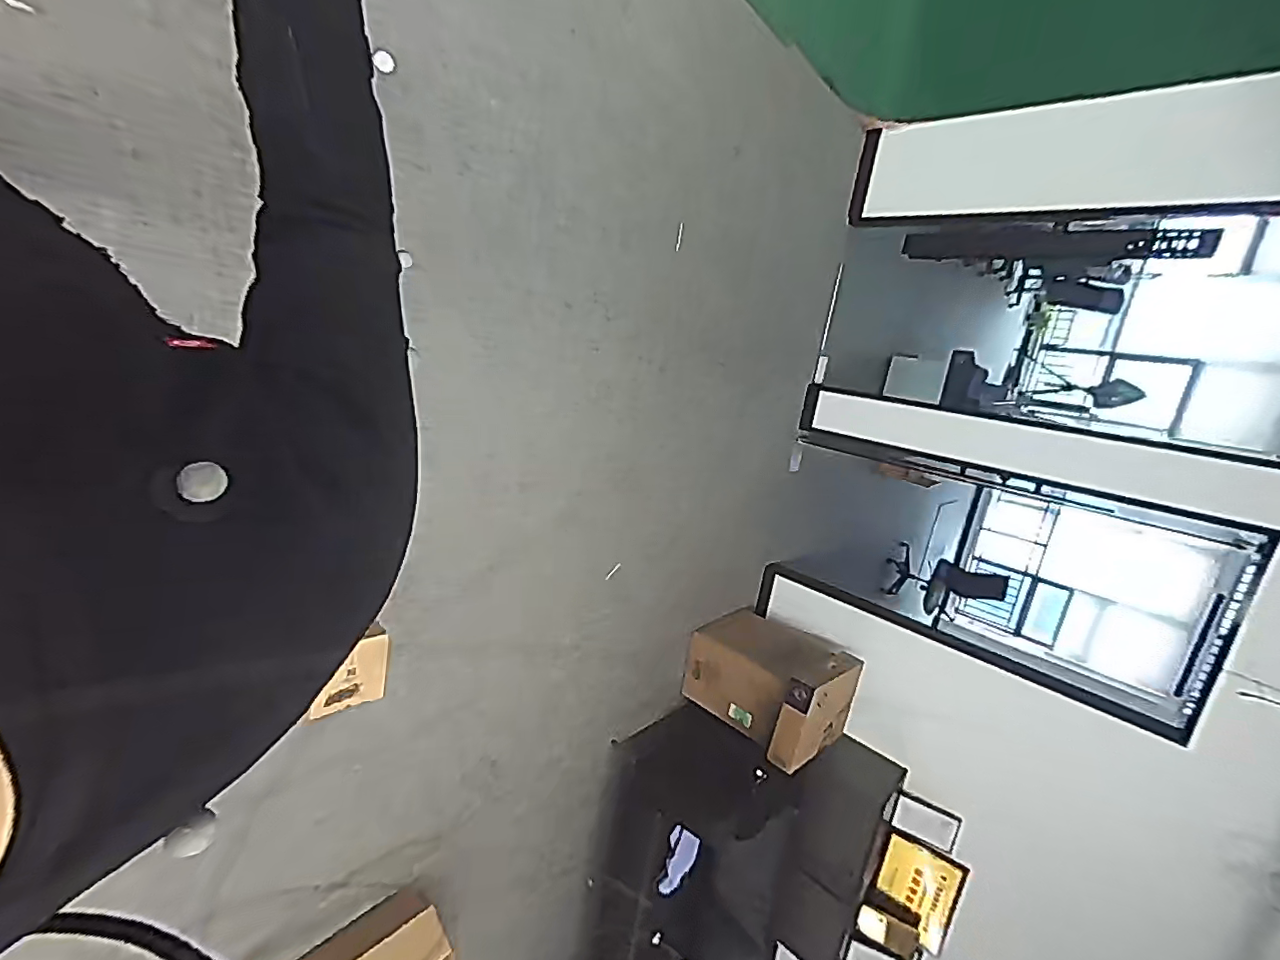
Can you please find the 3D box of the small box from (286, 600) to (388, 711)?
[{"bbox_3d":[-0.735,0.416,1.307,0.168,0.176,0.179,-2,107,-49],"label":"small box"}]
